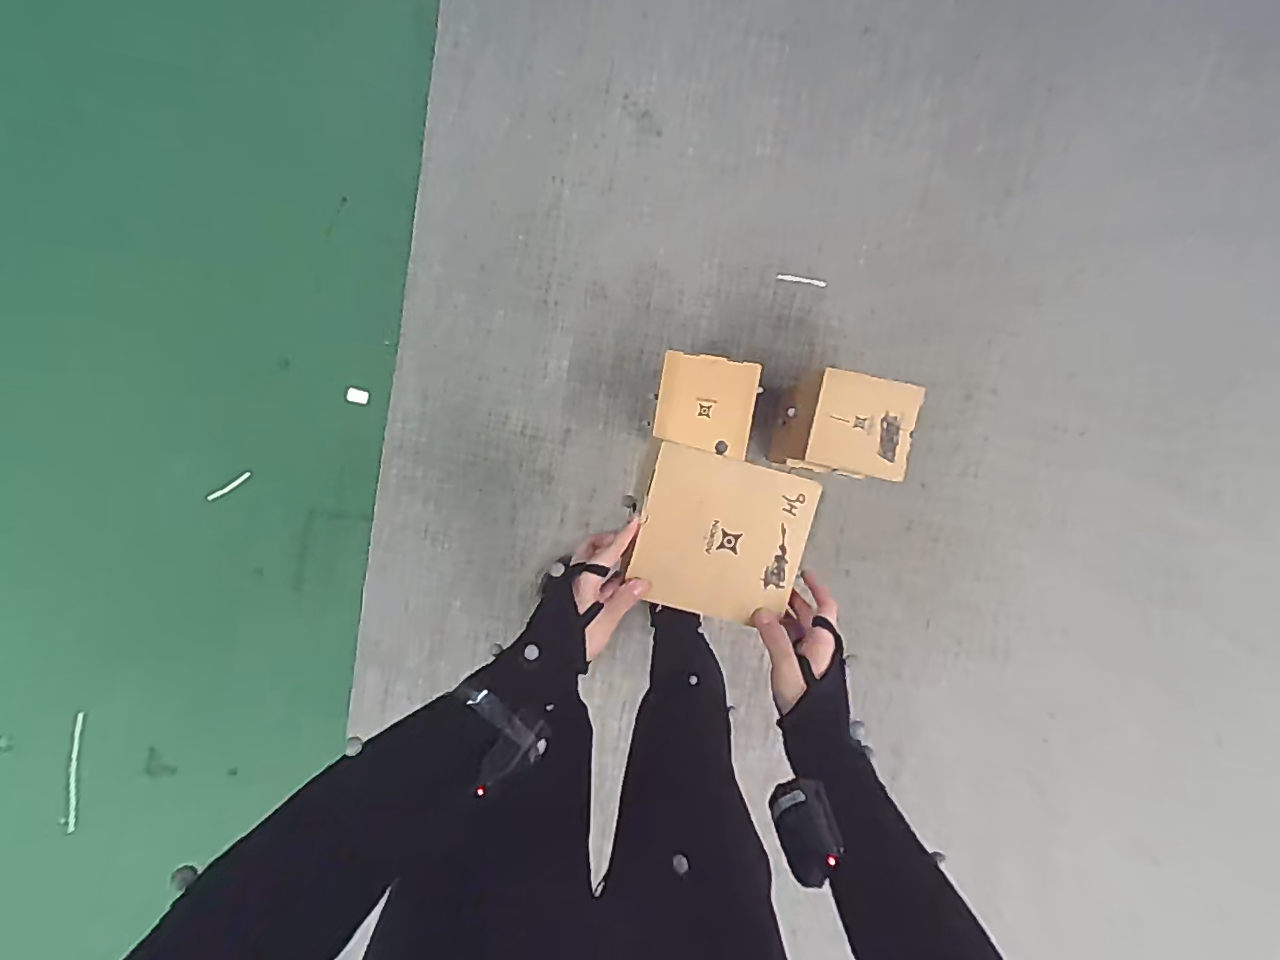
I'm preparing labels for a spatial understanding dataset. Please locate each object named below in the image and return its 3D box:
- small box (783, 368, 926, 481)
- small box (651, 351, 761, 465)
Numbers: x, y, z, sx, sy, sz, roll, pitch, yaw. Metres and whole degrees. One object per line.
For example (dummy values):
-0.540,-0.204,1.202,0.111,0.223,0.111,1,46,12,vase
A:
0.384,-0.101,0.997,0.179,0.176,0.168,12,94,1,small box
0.115,-0.129,1.001,0.168,0.176,0.179,8,95,0,small box
